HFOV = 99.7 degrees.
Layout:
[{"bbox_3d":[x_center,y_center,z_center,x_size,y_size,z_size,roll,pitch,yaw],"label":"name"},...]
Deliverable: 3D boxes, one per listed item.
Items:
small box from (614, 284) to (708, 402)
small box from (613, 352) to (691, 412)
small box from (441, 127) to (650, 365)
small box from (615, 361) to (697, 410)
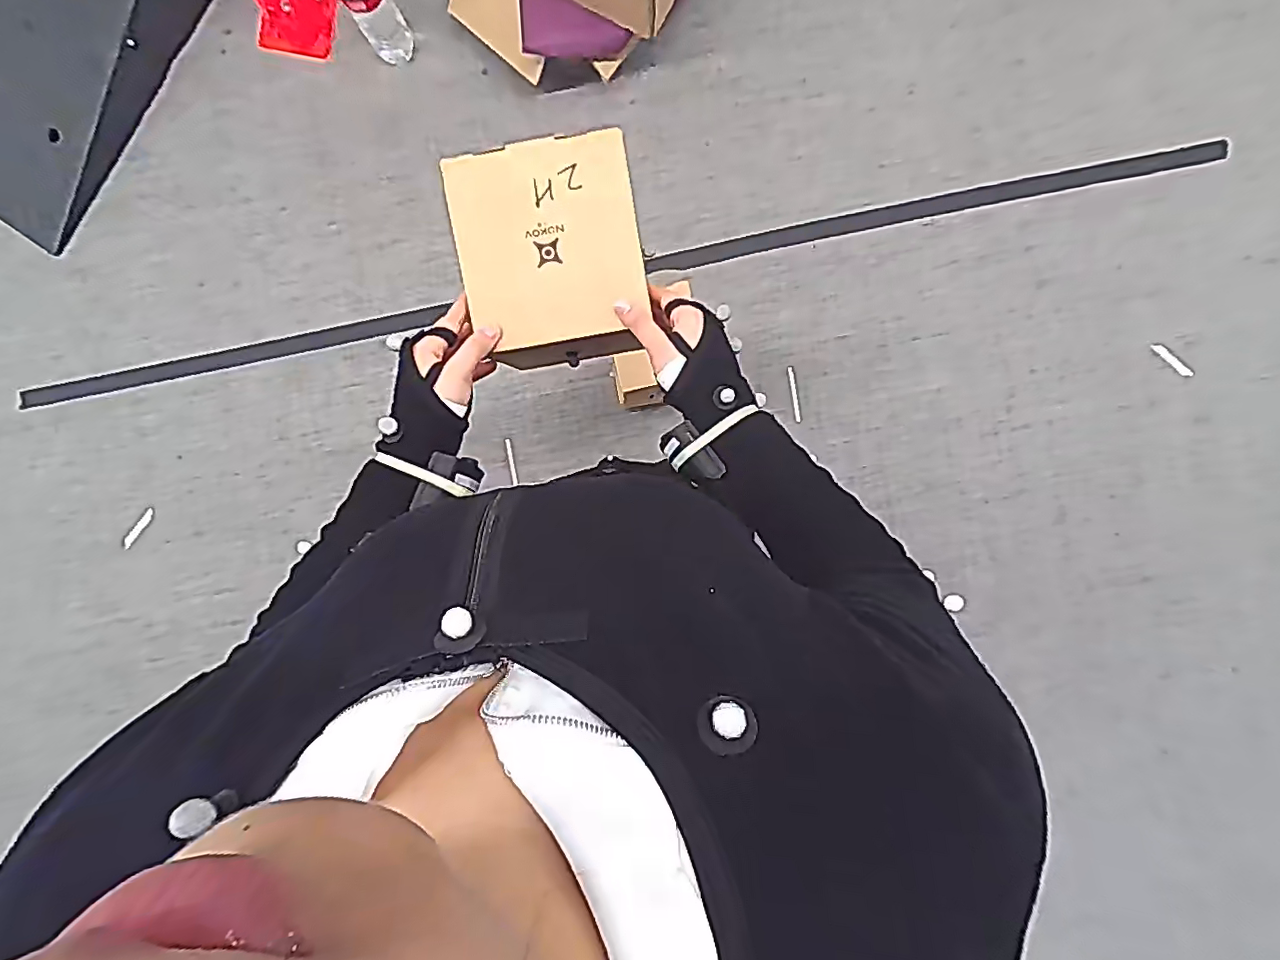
[{"bbox_3d":[0.030,-0.264,1.074,0.168,0.176,0.179,-12,93,1],"label":"small box"},{"bbox_3d":[0.029,-0.278,1.402,0.179,0.176,0.168,-11,92,2],"label":"small box"},{"bbox_3d":[-0.082,-0.222,0.566,0.168,0.176,0.179,-10,95,2],"label":"small box"},{"bbox_3d":[0.028,-0.269,1.239,0.168,0.176,0.179,-13,91,1],"label":"small box"}]
